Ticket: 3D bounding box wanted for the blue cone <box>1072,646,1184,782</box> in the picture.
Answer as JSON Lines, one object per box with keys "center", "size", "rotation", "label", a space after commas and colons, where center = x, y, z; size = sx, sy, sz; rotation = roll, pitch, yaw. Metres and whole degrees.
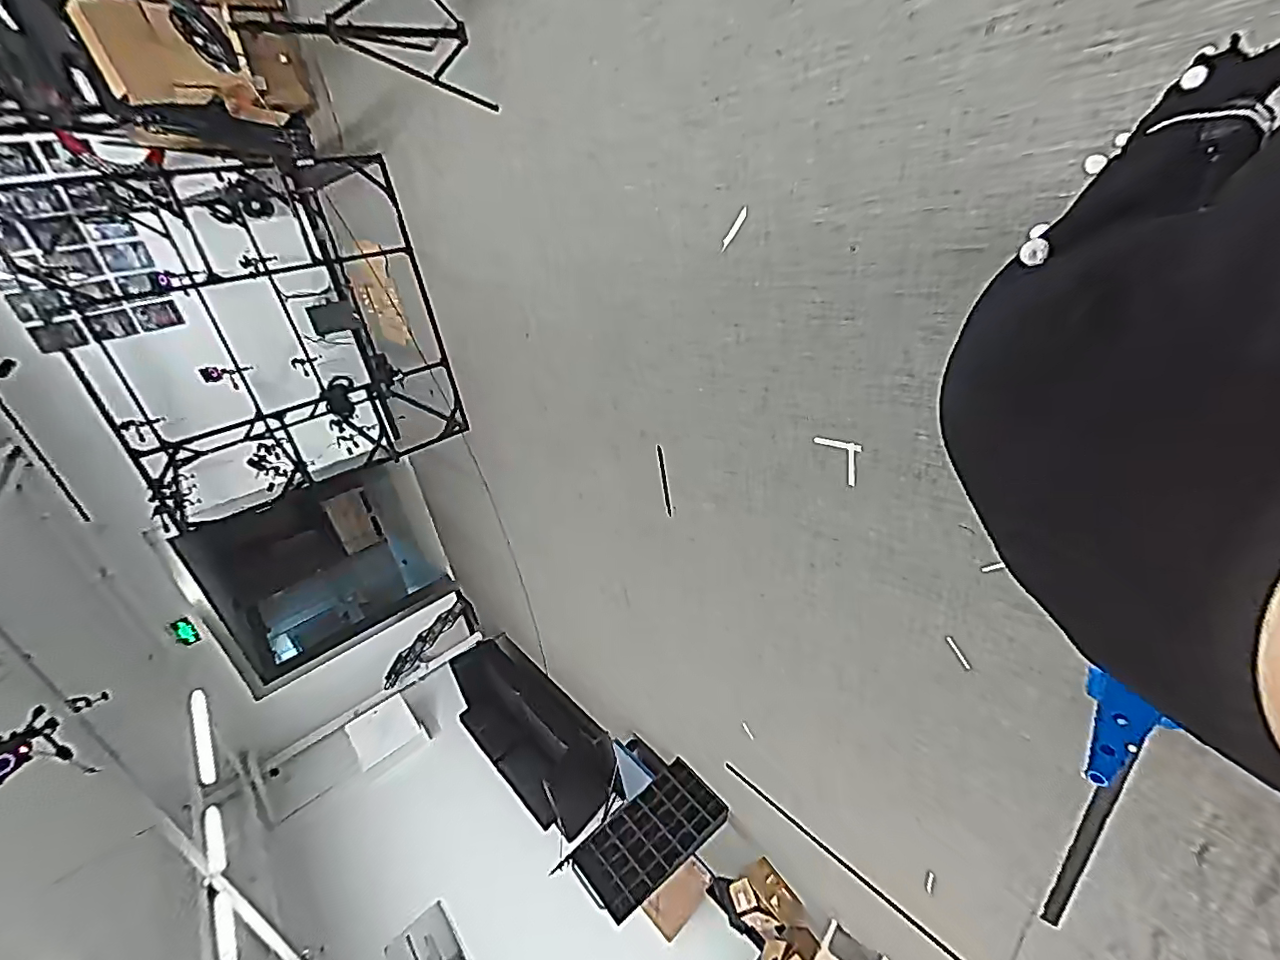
{"center": [1.155, 0.602, 1.323], "size": [0.192, 0.380, 0.193], "rotation": [19, 128, 48], "label": "blue cone"}
